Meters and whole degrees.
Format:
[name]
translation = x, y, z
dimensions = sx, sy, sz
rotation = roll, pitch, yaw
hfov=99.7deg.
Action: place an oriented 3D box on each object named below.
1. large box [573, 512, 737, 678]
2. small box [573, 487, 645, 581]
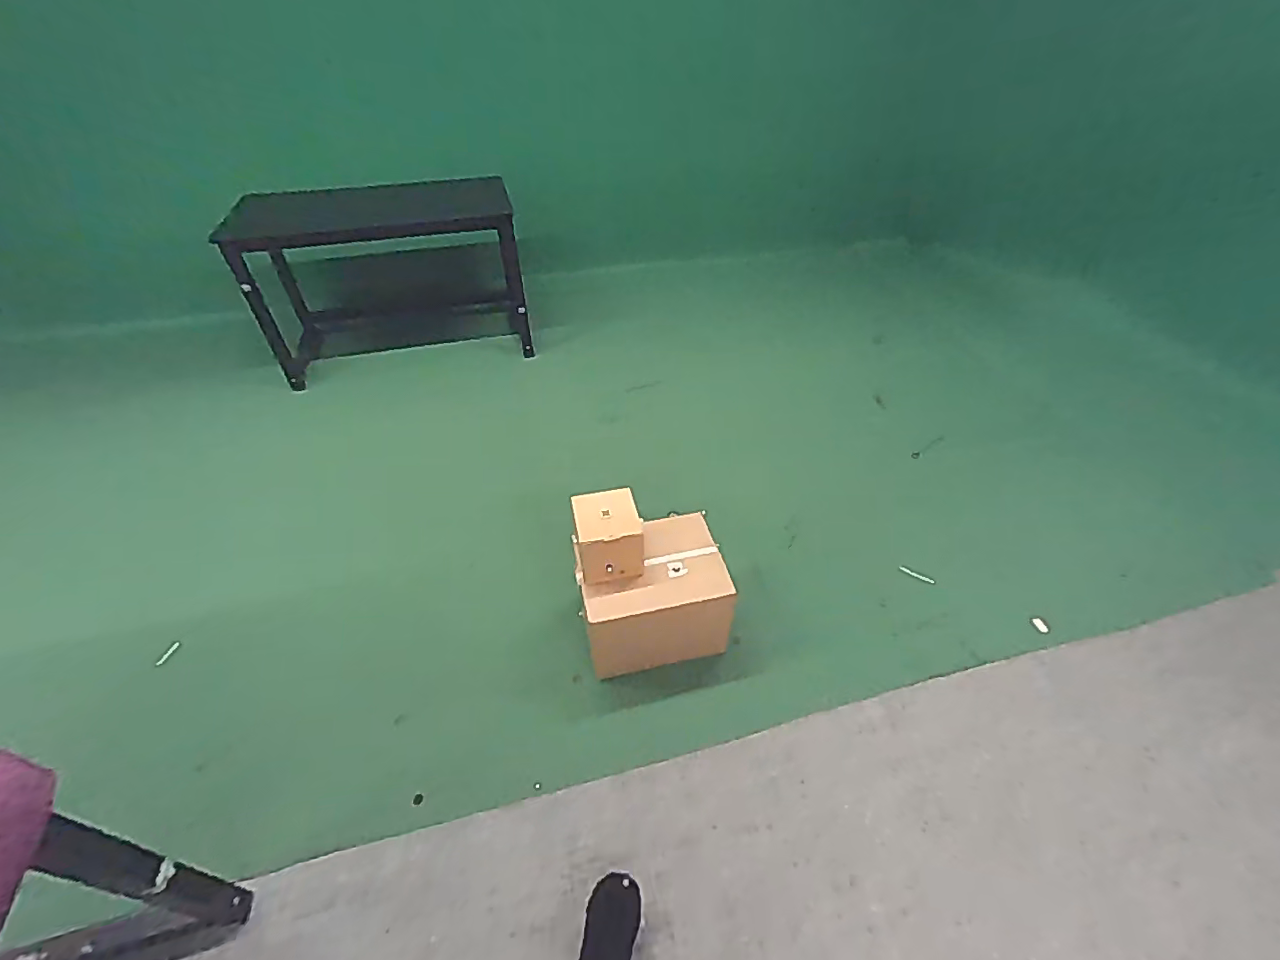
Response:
[large box]
translation = 0.031, 0.339, 1.610
dimensions = 0.408, 0.320, 0.320
rotation = -9, 44, -10
[small box]
translation = -0.086, 0.145, 1.463
dimensions = 0.168, 0.176, 0.179
rotation = -9, 43, -10
